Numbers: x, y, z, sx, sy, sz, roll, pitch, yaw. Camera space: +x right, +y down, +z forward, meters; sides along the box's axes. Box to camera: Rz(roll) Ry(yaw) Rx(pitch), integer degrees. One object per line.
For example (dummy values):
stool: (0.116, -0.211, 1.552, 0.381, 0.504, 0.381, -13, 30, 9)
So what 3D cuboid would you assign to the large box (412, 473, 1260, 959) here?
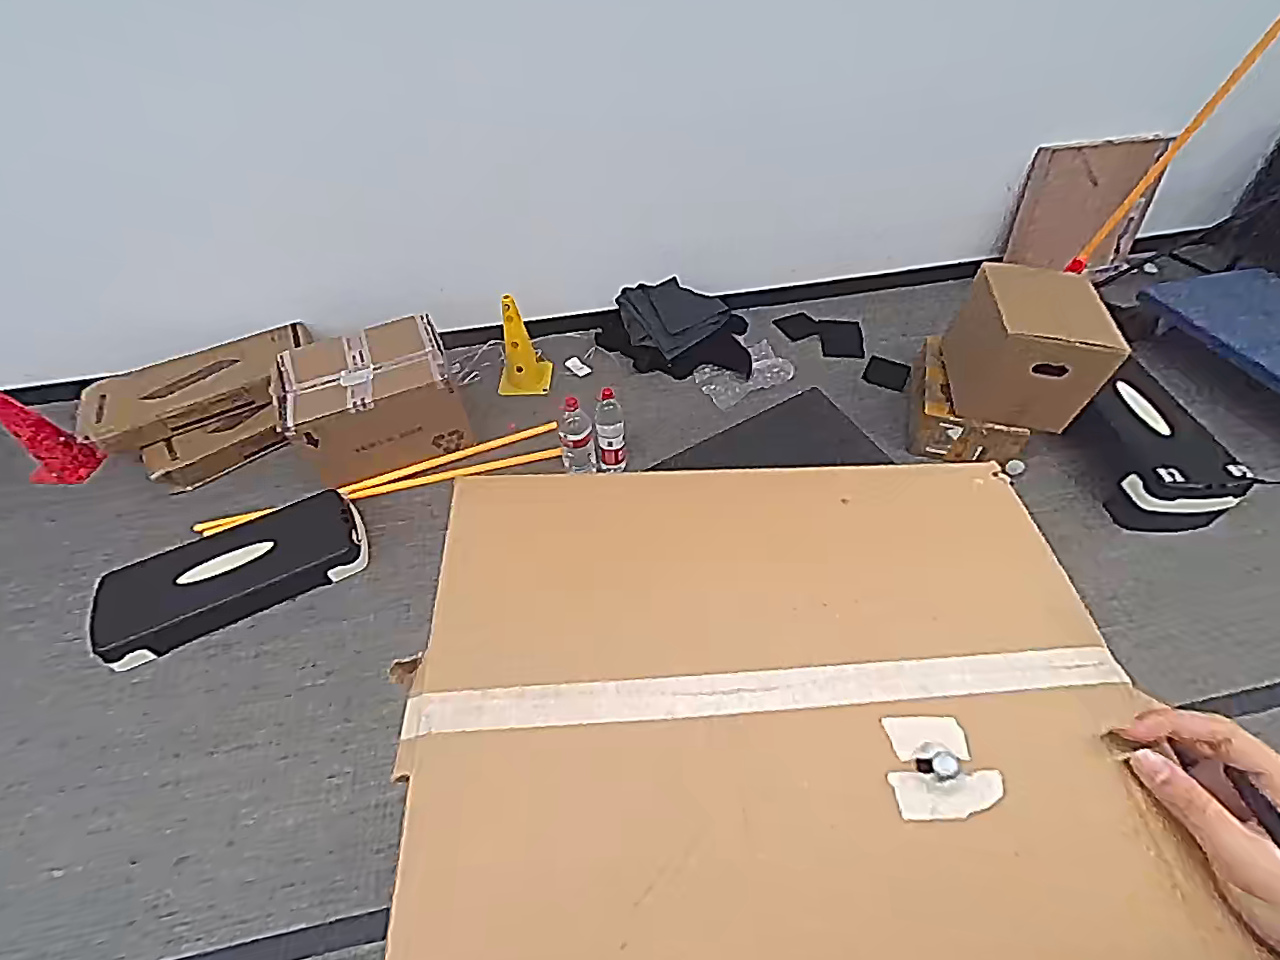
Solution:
large box: (0.074, 0.211, 0.436, 0.408, 0.320, 0.320, -1, 55, -6)
